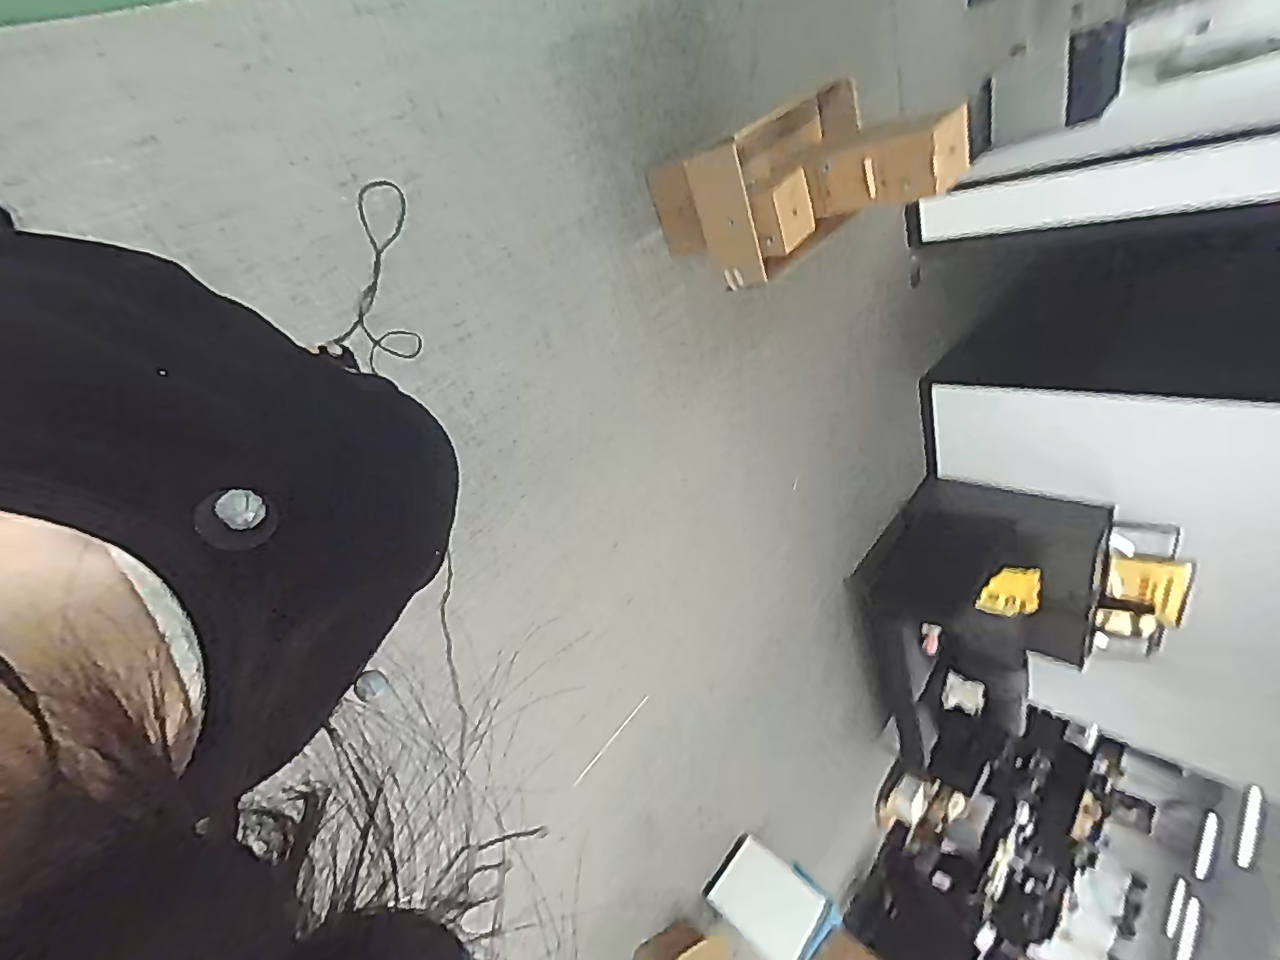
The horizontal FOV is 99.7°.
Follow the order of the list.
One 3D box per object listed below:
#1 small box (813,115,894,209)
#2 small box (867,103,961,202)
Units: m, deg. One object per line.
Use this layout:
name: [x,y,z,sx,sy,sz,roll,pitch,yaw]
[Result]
small box: [0.616,-0.905,1.552,0.179,0.176,0.168,-46,128,-21]
small box: [0.722,-0.861,1.436,0.179,0.176,0.168,-43,128,-23]
